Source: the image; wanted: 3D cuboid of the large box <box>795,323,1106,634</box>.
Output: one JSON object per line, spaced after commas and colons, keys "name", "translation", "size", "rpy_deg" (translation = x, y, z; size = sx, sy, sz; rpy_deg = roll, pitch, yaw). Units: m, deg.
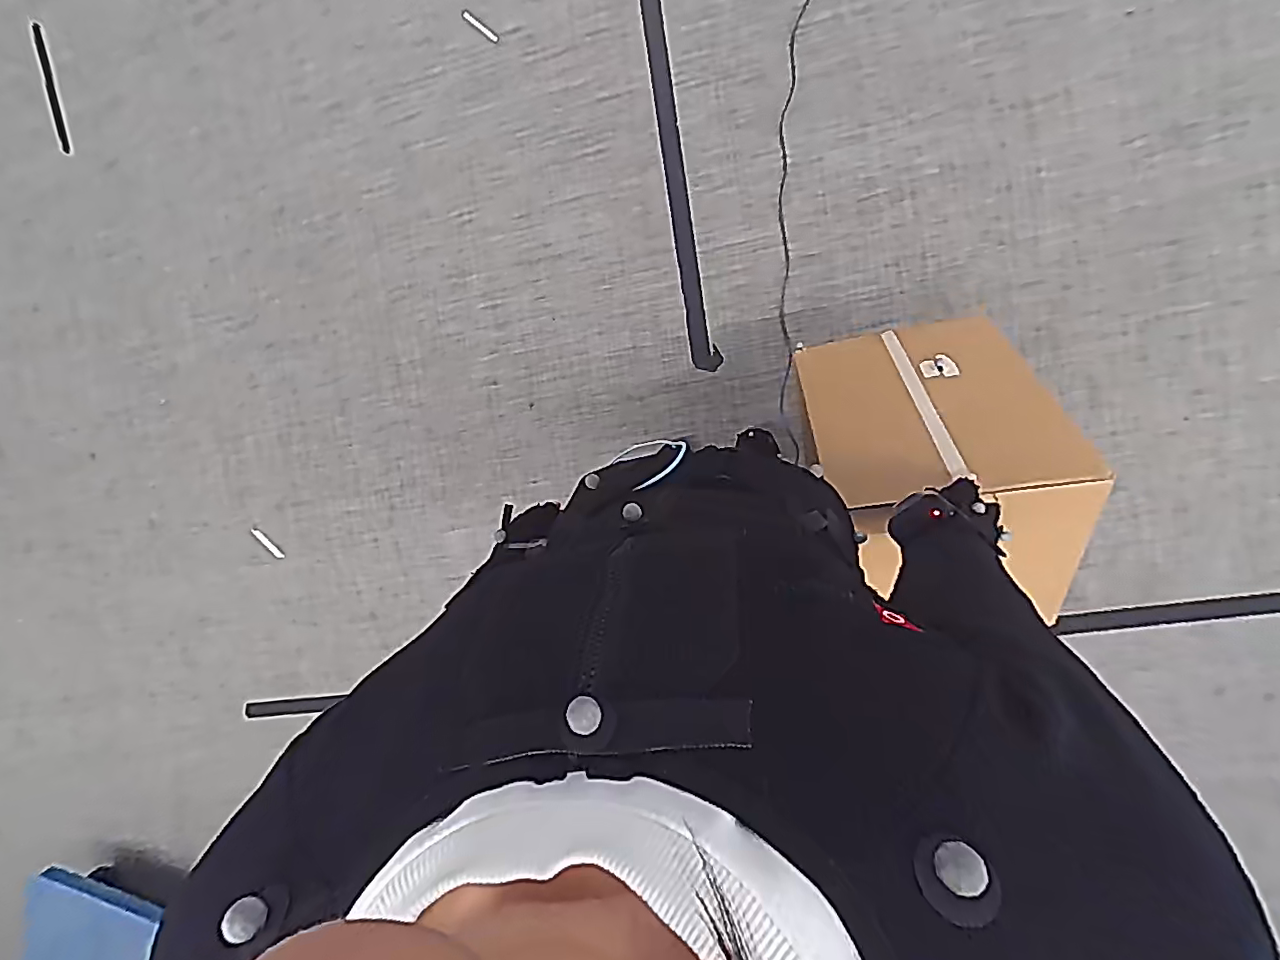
{"name": "large box", "translation": [0.458, -0.006, 0.908], "size": [0.320, 0.408, 0.320], "rpy_deg": [-8, 131, 13]}
